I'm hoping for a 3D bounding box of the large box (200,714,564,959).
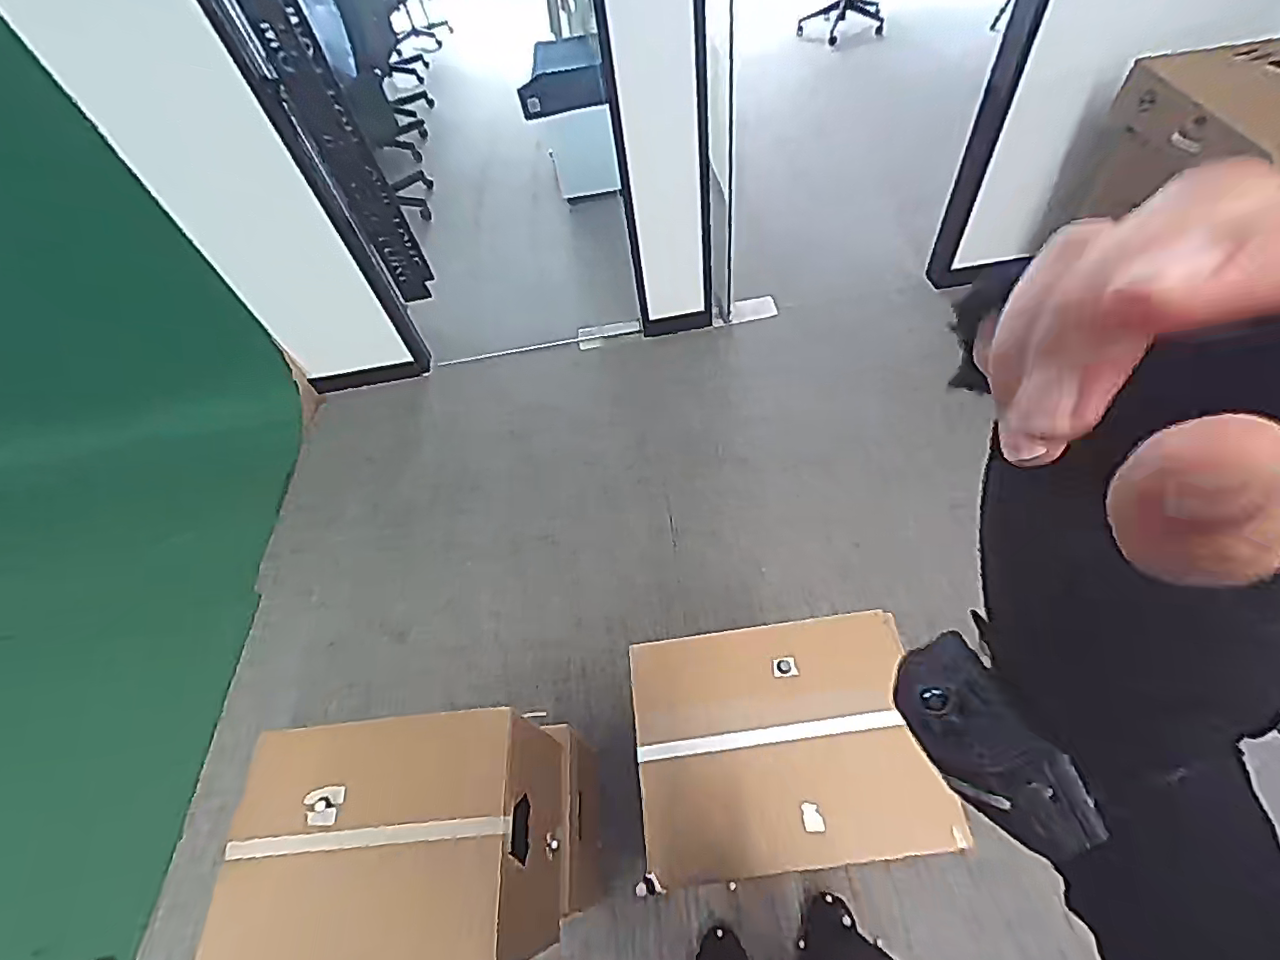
[{"bbox_3d":[-0.353,0.584,0.859,0.408,0.320,0.320,-8,55,5],"label":"large box"}]
